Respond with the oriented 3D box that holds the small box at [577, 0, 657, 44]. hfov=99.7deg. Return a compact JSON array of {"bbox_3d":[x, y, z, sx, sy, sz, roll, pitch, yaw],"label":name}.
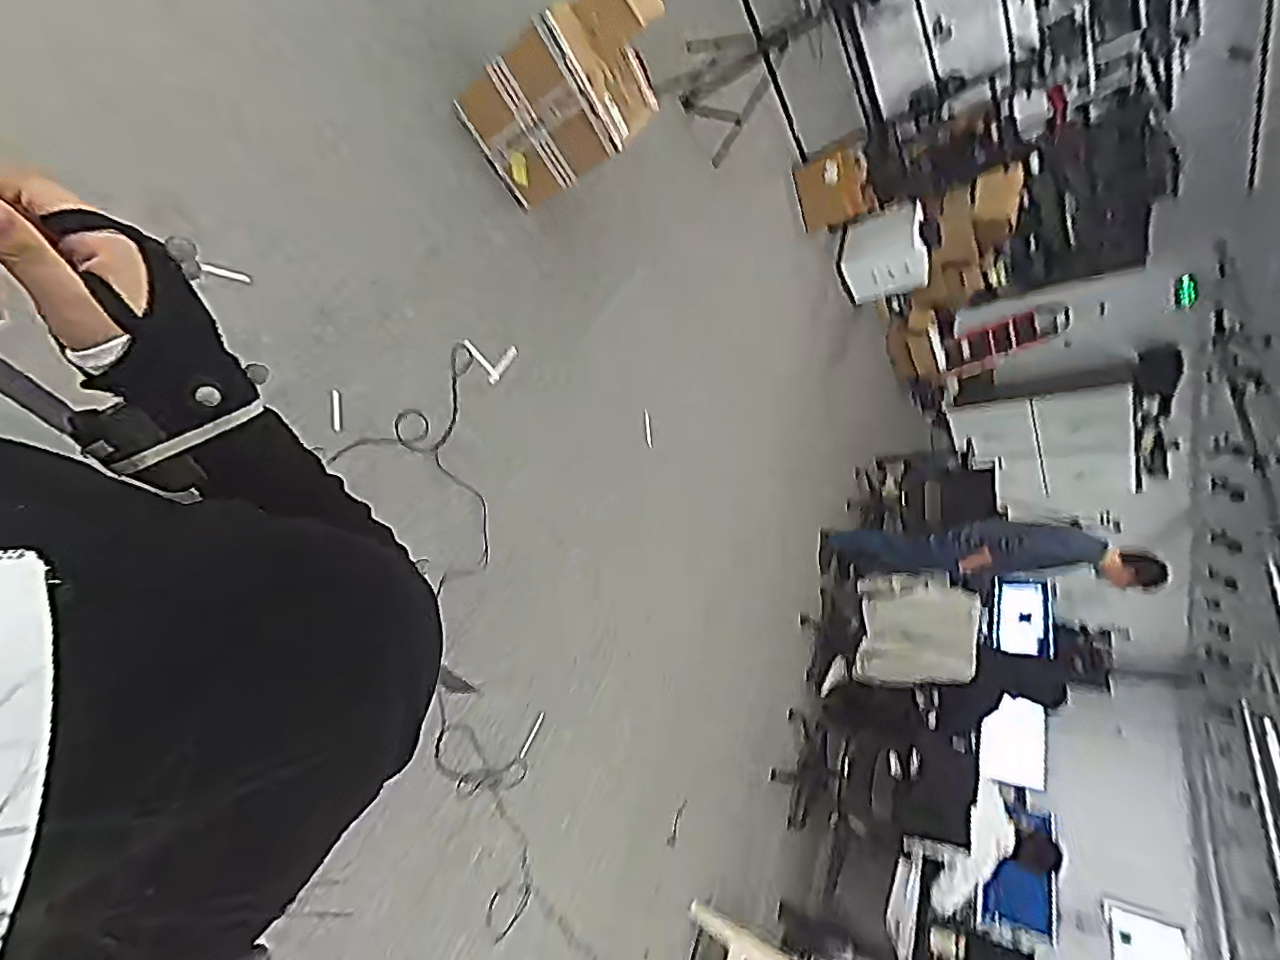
[{"bbox_3d":[-0.066,-1.421,1.563,0.168,0.176,0.179,49,55,-32],"label":"small box"}]
